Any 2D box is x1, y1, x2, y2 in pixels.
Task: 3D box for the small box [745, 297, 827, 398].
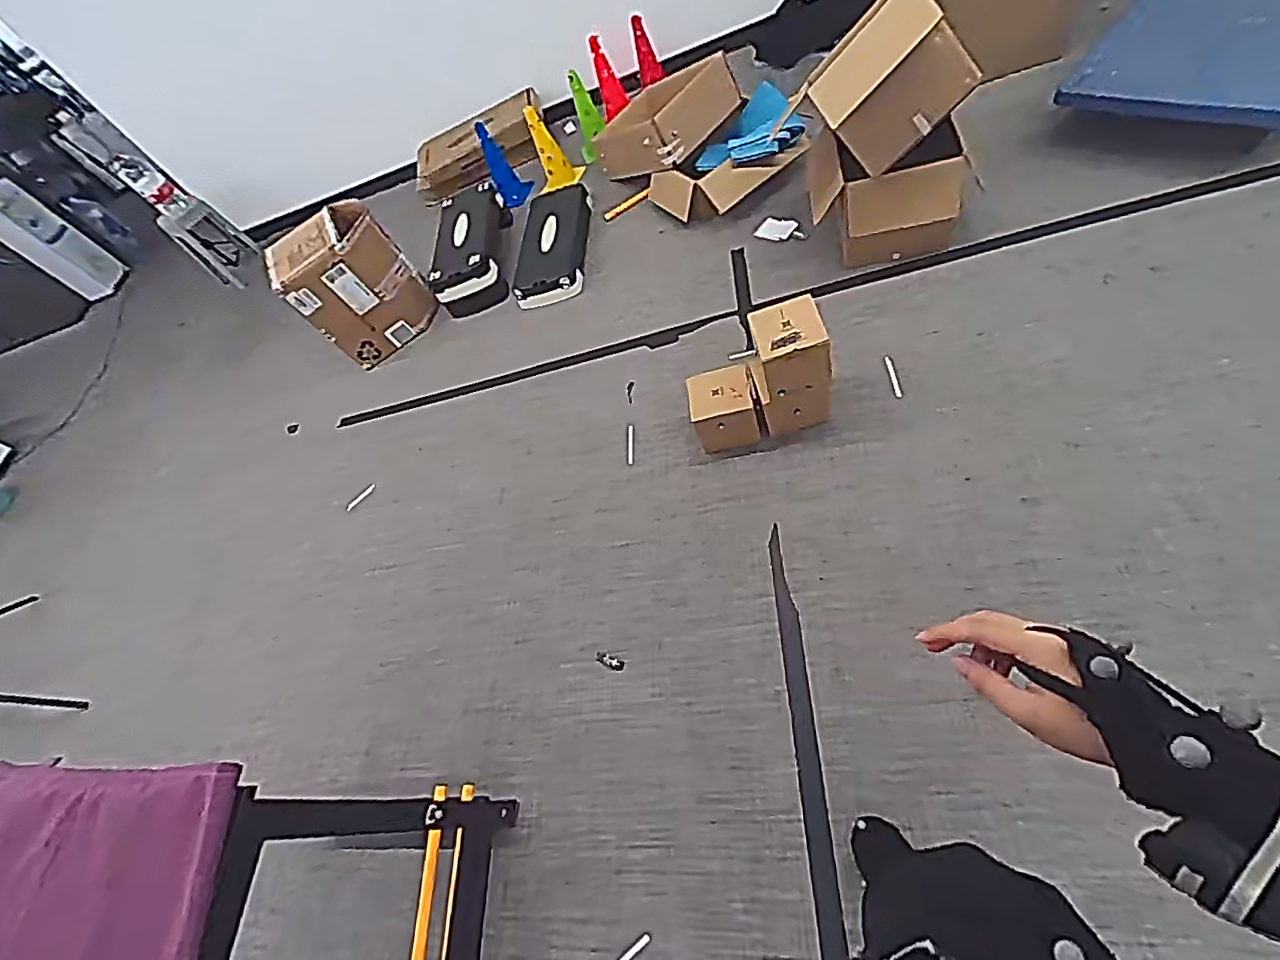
[{"bbox_3d":[0.383,-0.334,1.409,0.168,0.176,0.179,-15,56,12],"label":"small box"}]
